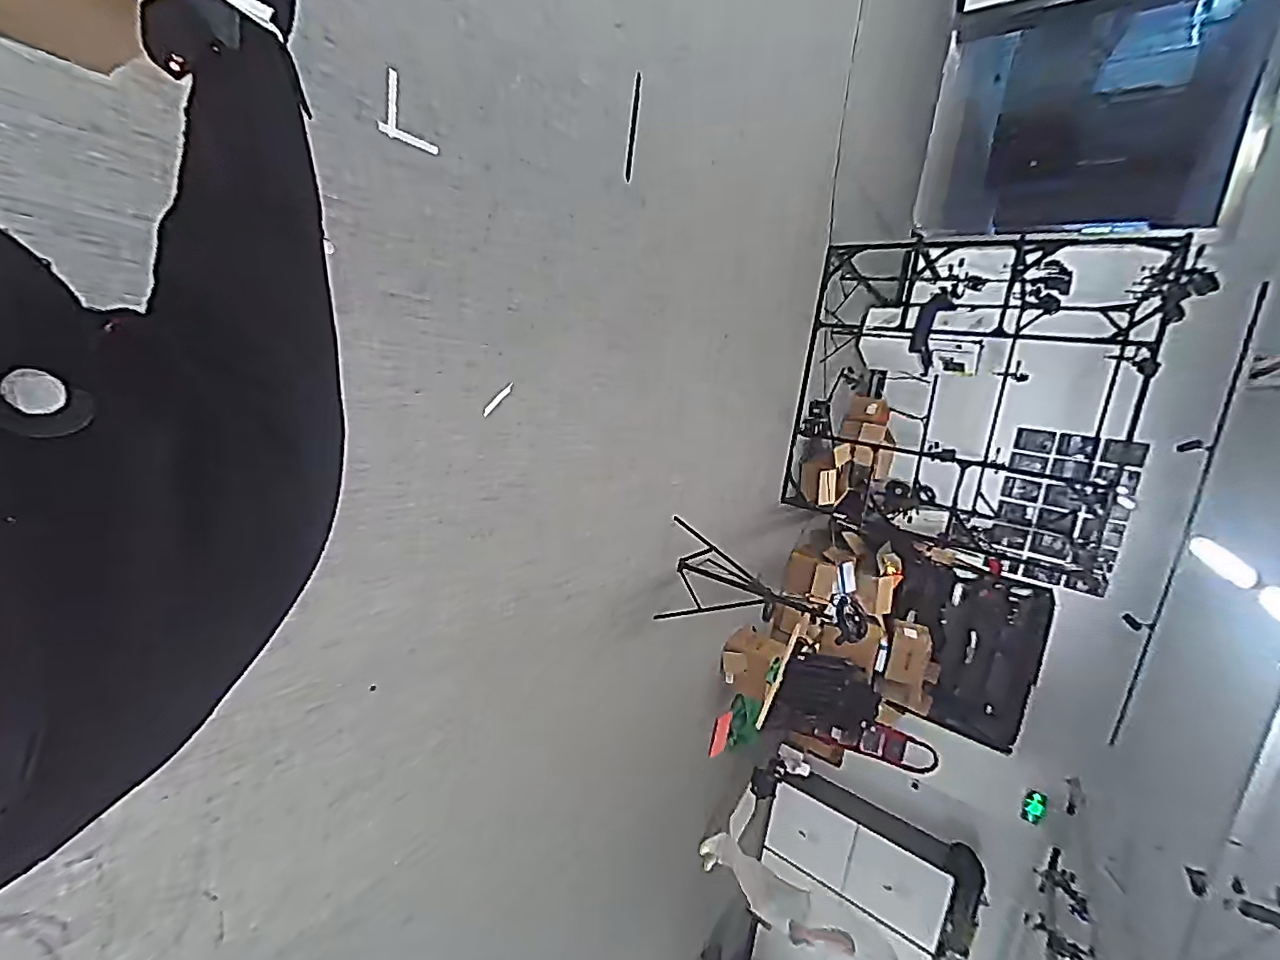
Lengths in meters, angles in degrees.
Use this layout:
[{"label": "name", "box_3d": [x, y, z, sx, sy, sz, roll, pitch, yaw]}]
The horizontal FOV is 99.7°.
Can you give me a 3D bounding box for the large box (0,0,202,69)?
[{"label": "large box", "box_3d": [-0.547, -0.520, 0.305, 0.408, 0.320, 0.320, -8, 114, -53]}]
